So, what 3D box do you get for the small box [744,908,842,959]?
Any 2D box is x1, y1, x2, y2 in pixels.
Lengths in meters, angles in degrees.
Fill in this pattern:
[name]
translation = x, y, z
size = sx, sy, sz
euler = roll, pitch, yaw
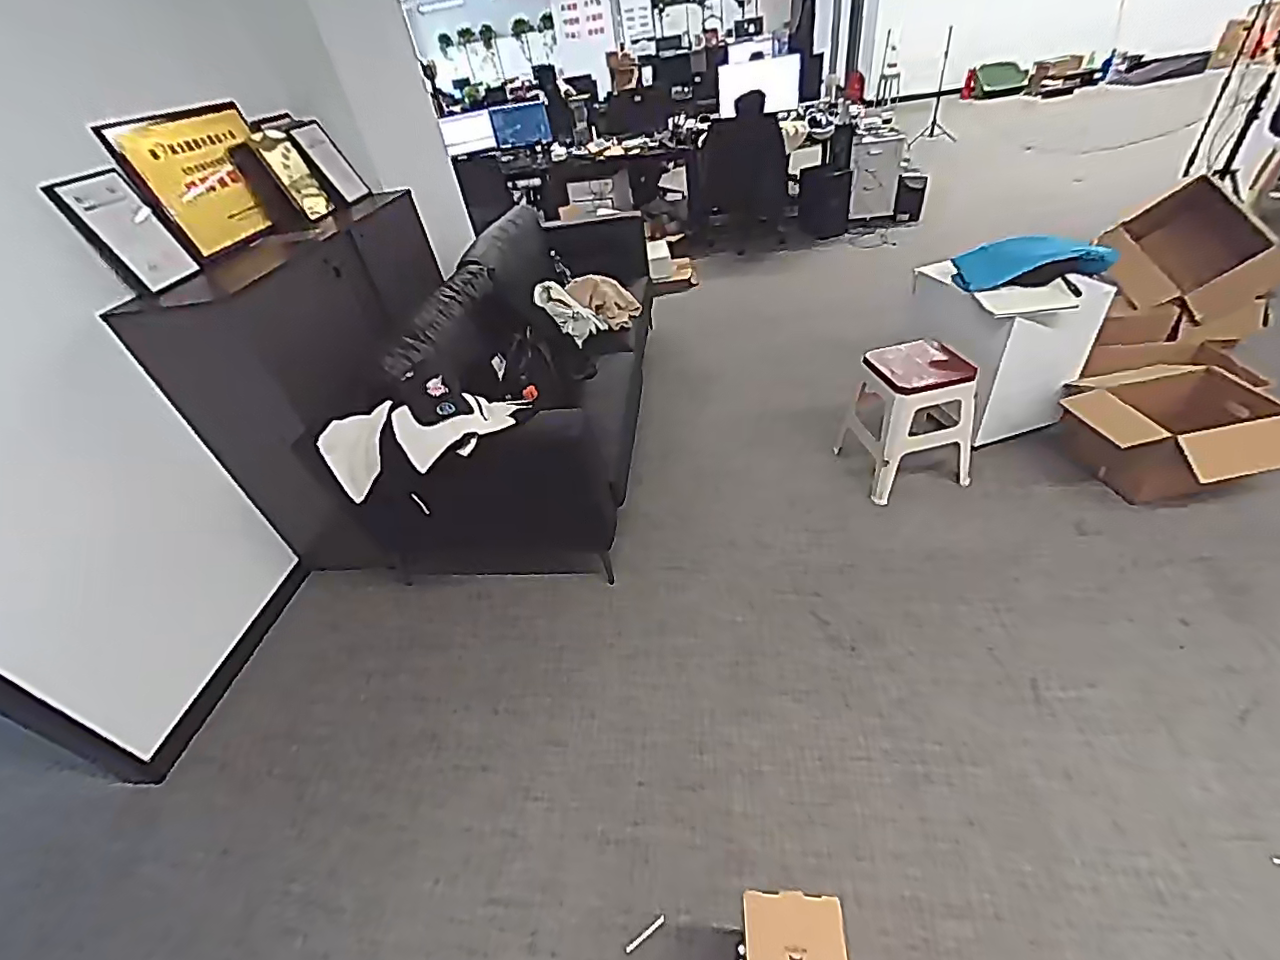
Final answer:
[small box]
translation = 0.295, 0.953, 1.036
size = 0.179, 0.176, 0.168
euler = -2, 40, 10
